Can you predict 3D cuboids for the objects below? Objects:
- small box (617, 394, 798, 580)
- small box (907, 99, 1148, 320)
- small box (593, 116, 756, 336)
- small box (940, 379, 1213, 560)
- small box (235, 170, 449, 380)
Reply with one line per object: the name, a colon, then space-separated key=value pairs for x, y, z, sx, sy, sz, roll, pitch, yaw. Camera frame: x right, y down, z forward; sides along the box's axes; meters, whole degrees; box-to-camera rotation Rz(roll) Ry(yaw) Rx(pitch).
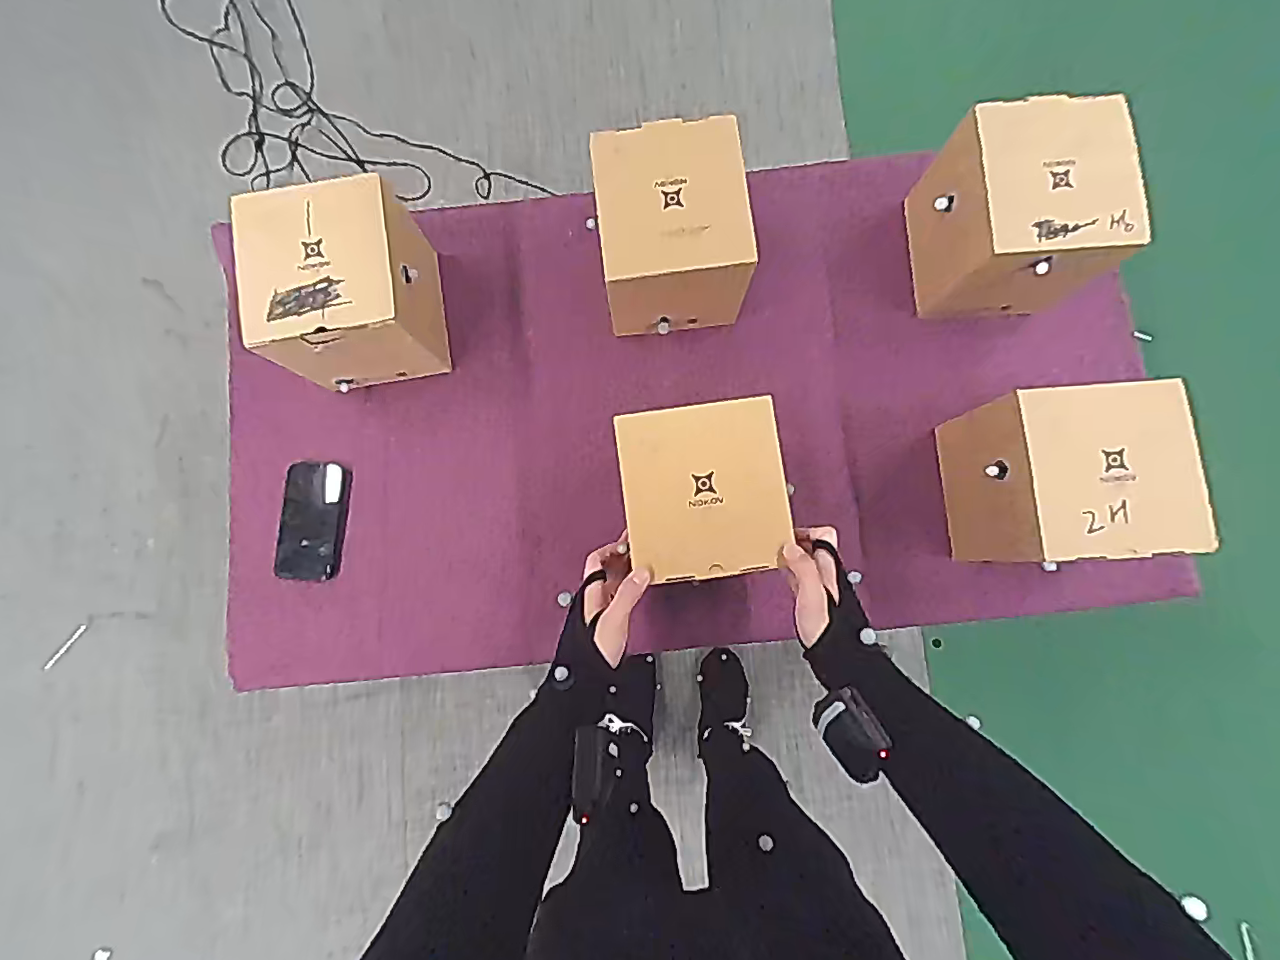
small box: x=0.065 y=0.017 z=0.620 sx=0.168 sy=0.176 sz=0.179 roll=-7 pitch=82 yaw=0
small box: x=0.447 y=-0.315 z=0.657 sx=0.168 sy=0.176 sz=0.179 roll=-3 pitch=82 yaw=1
small box: x=0.037 y=-0.298 z=0.663 sx=0.168 sy=0.176 sz=0.179 roll=-6 pitch=83 yaw=1
small box: x=0.465 y=-0.001 z=0.610 sx=0.168 sy=0.176 sz=0.179 roll=-3 pitch=82 yaw=2
small box: x=-0.347 y=-0.232 z=0.658 sx=0.168 sy=0.176 sz=0.179 roll=-9 pitch=82 yaw=-1
